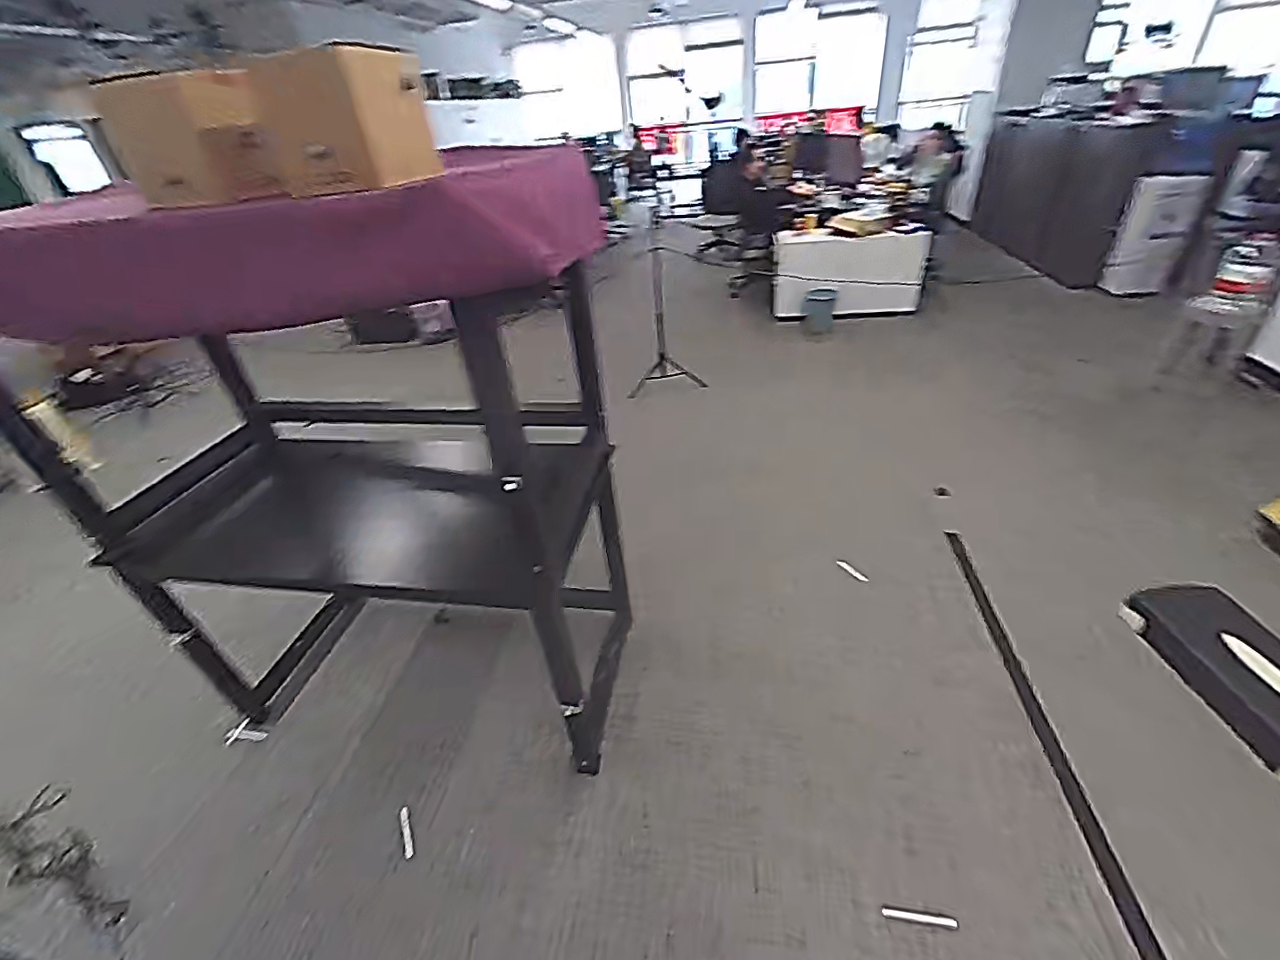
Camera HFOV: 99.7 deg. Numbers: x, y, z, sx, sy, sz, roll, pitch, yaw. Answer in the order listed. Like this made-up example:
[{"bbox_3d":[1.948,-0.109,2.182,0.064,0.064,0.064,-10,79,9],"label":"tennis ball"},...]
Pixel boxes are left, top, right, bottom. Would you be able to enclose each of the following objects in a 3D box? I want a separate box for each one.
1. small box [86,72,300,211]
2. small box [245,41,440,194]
[{"bbox_3d":[-0.690,-0.538,0.864,0.179,0.176,0.168,4,35,14],"label":"small box"},{"bbox_3d":[-0.426,-0.535,0.813,0.168,0.176,0.179,3,35,14],"label":"small box"}]
